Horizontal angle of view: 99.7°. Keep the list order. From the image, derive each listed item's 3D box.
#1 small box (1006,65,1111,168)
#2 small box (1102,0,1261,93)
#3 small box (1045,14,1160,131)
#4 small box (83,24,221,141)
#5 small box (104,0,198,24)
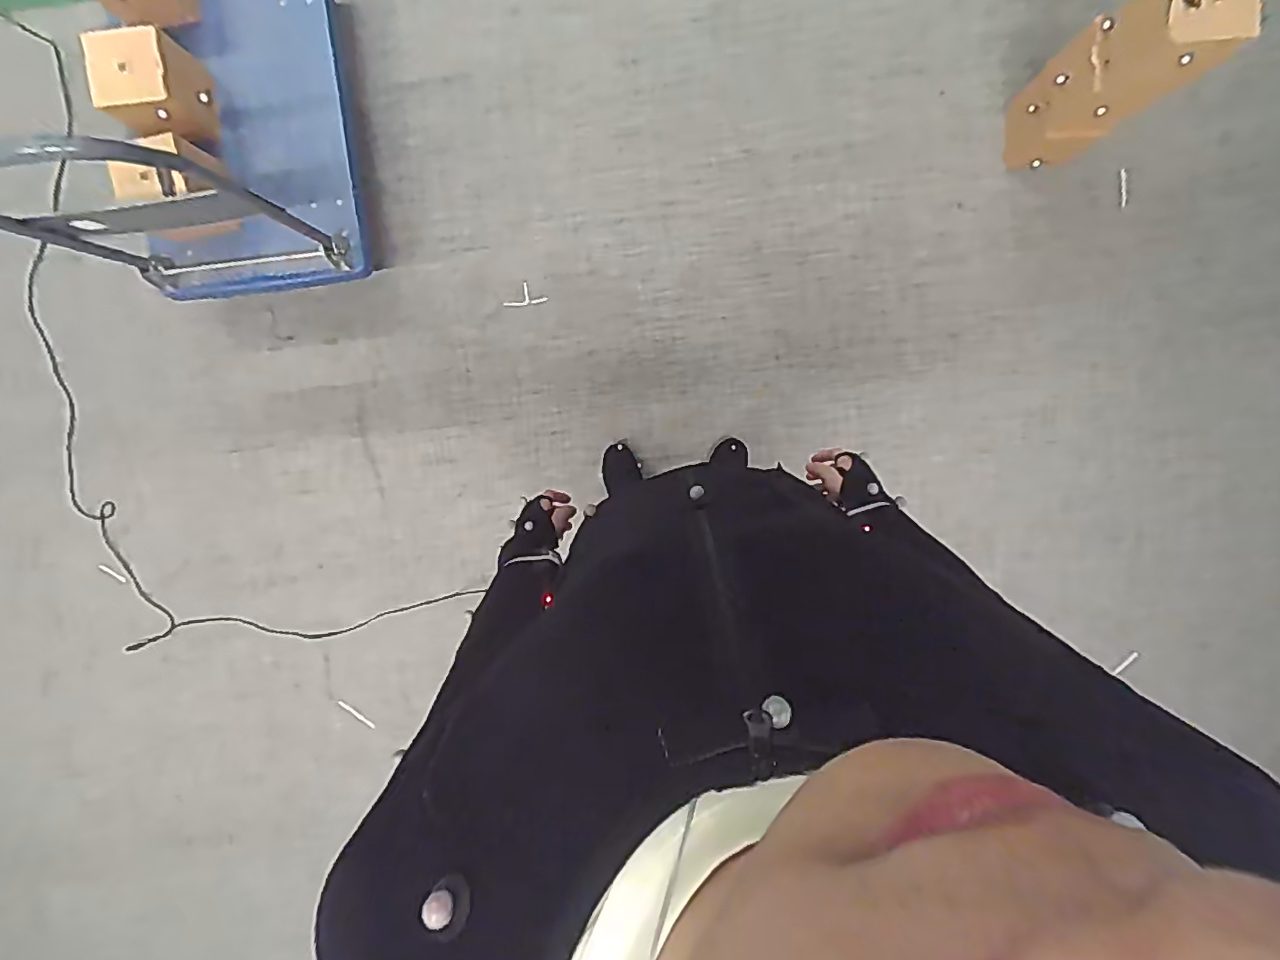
[{"bbox_3d":[1.116,-0.971,1.450,0.168,0.176,0.179,-1,95,2],"label":"small box"},{"bbox_3d":[1.112,-0.940,1.123,0.179,0.176,0.168,-2,94,2],"label":"small box"},{"bbox_3d":[1.108,-0.962,1.287,0.179,0.176,0.168,-1,95,3],"label":"small box"},{"bbox_3d":[-1.178,-0.956,1.316,0.179,0.176,0.168,-6,95,0],"label":"small box"},{"bbox_3d":[-1.210,-1.229,1.286,0.179,0.176,0.168,0,98,0],"label":"small box"}]
